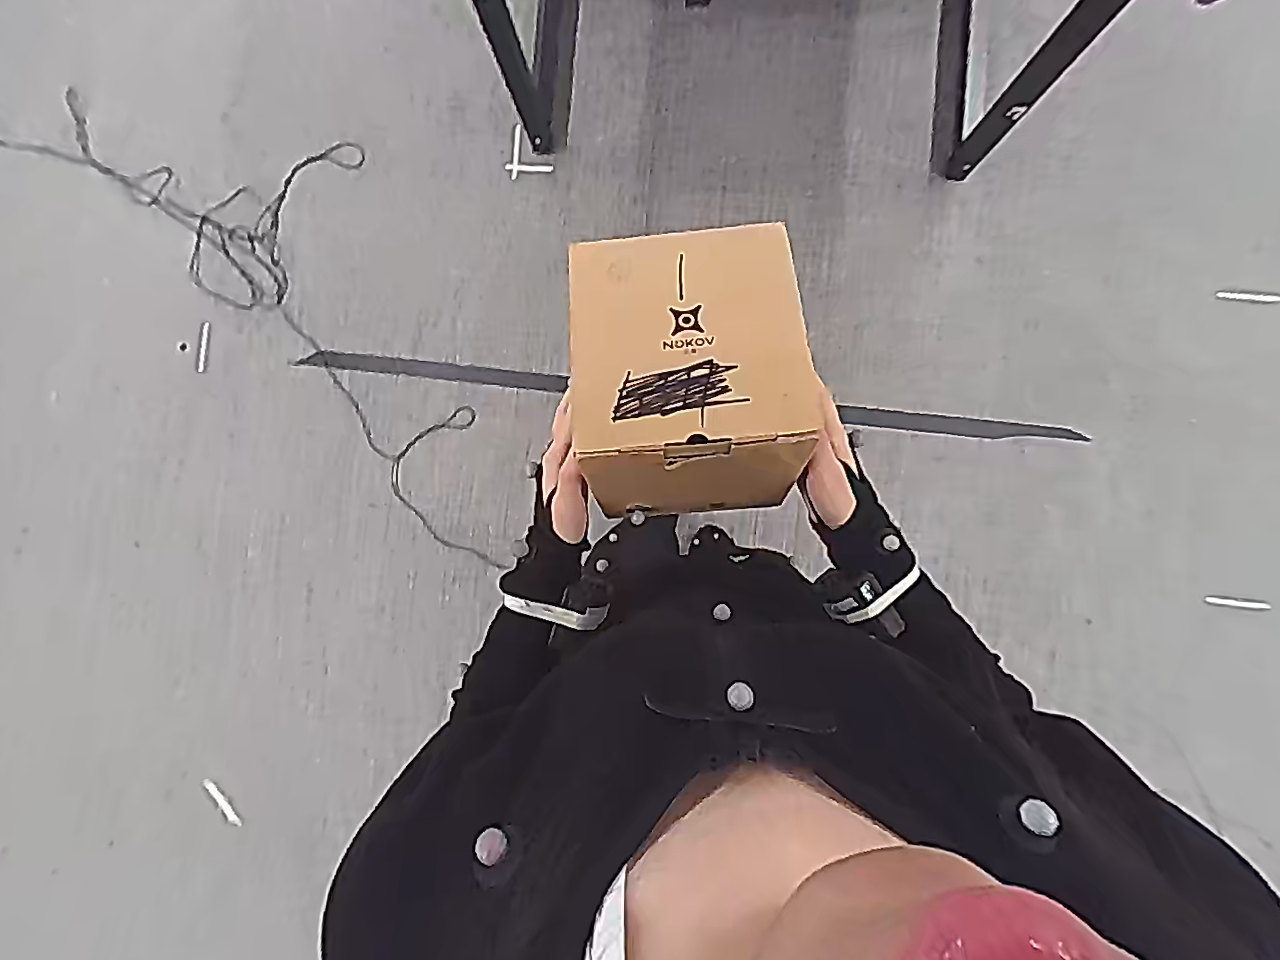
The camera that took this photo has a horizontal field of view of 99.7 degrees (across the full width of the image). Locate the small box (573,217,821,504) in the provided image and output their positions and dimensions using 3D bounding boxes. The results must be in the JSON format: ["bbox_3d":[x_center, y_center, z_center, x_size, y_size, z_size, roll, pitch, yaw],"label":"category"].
[{"bbox_3d":[0.040,-0.083,0.454,0.168,0.176,0.179,-4,71,3],"label":"small box"}]
